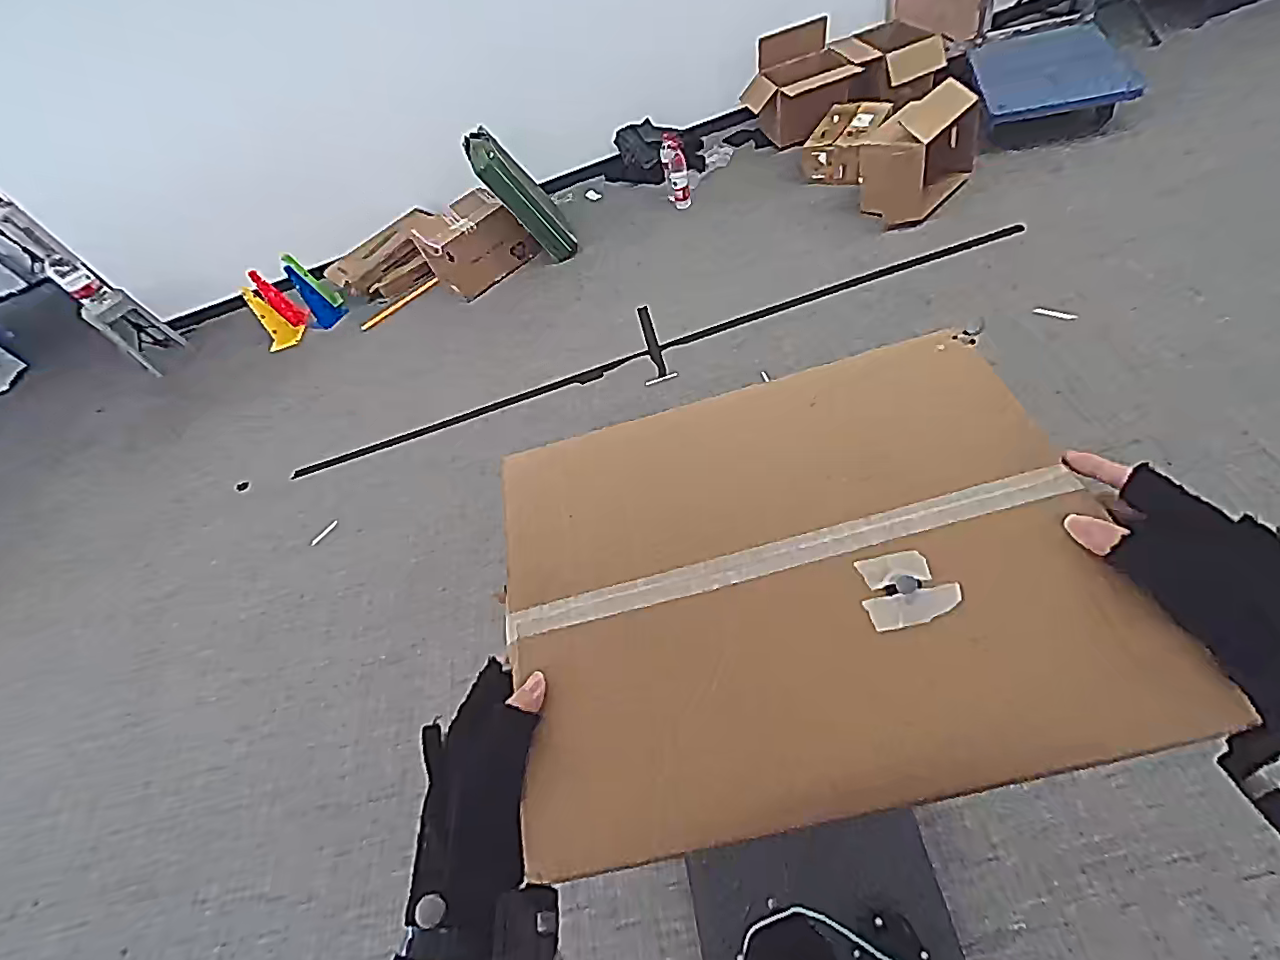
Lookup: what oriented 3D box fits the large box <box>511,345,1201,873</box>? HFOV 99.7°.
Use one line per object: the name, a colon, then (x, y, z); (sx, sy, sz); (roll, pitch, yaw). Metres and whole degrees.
large box: (0.130, 0.138, 0.521); (0.408, 0.320, 0.320); (-16, 57, 4)
